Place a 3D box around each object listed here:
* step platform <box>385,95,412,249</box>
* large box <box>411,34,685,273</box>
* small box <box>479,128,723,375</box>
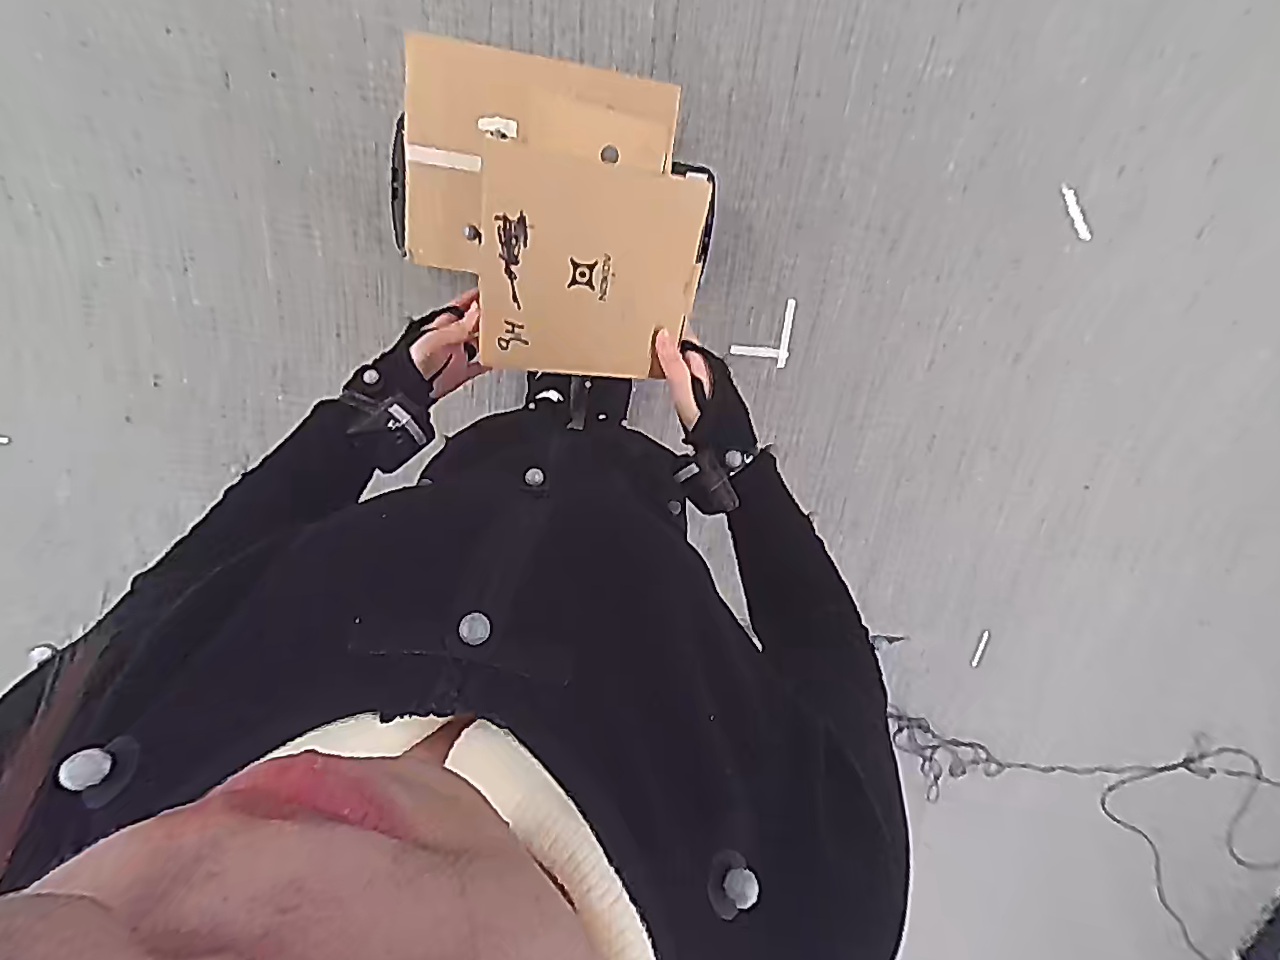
[{"bbox_3d":[-0.190,-0.584,1.196,0.684,0.204,0.286,12,108,-8],"label":"step platform"},{"bbox_3d":[-0.154,-0.518,0.969,0.408,0.320,0.320,7,108,-6],"label":"large box"},{"bbox_3d":[-0.052,-0.206,0.490,0.179,0.176,0.168,1,120,-17],"label":"small box"}]
